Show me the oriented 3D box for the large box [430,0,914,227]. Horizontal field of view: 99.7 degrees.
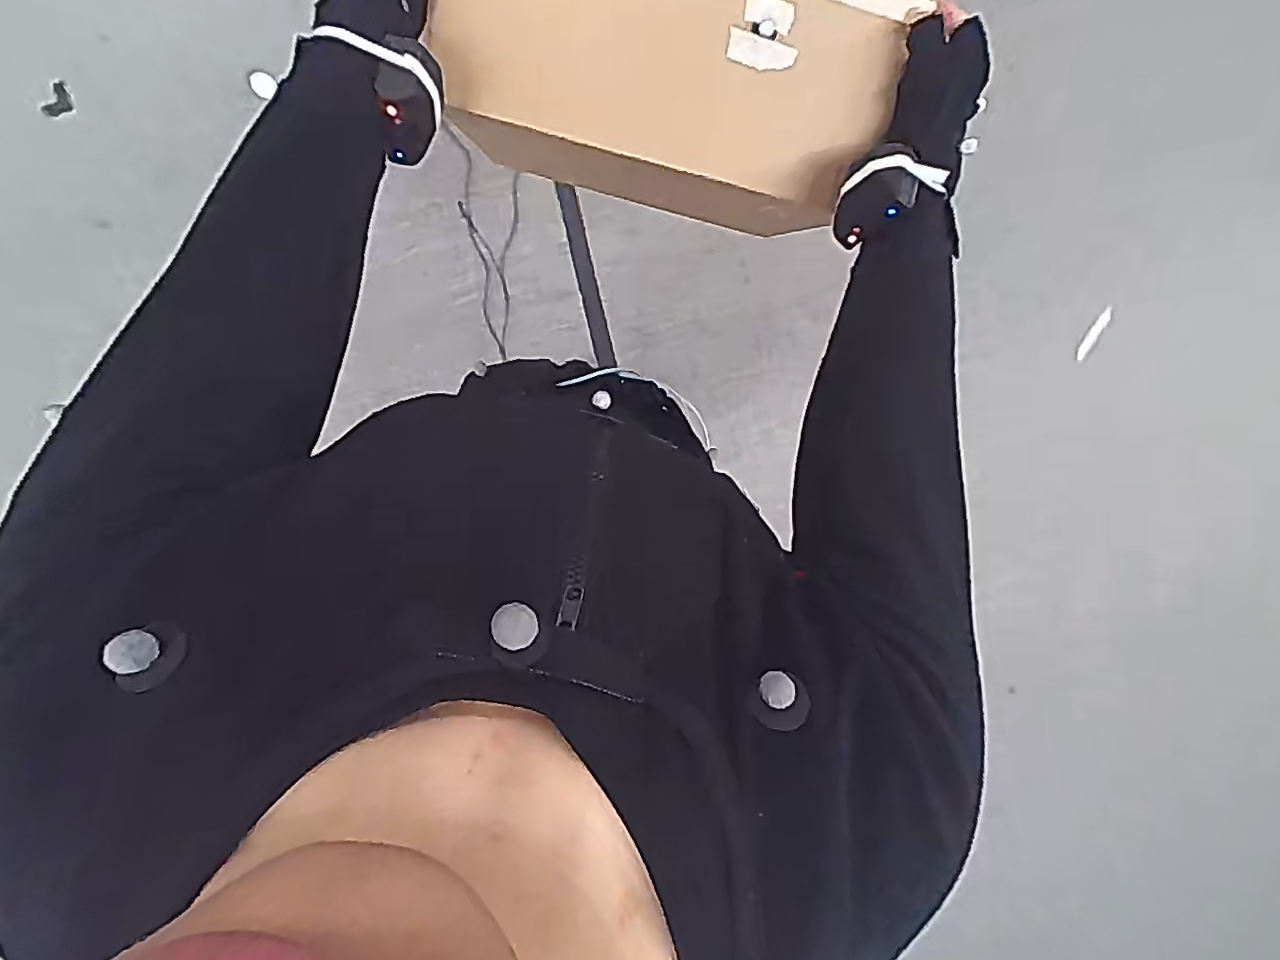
[{"bbox_3d":[0.027,-0.486,0.578,0.408,0.320,0.320,9,111,-8],"label":"large box"}]
